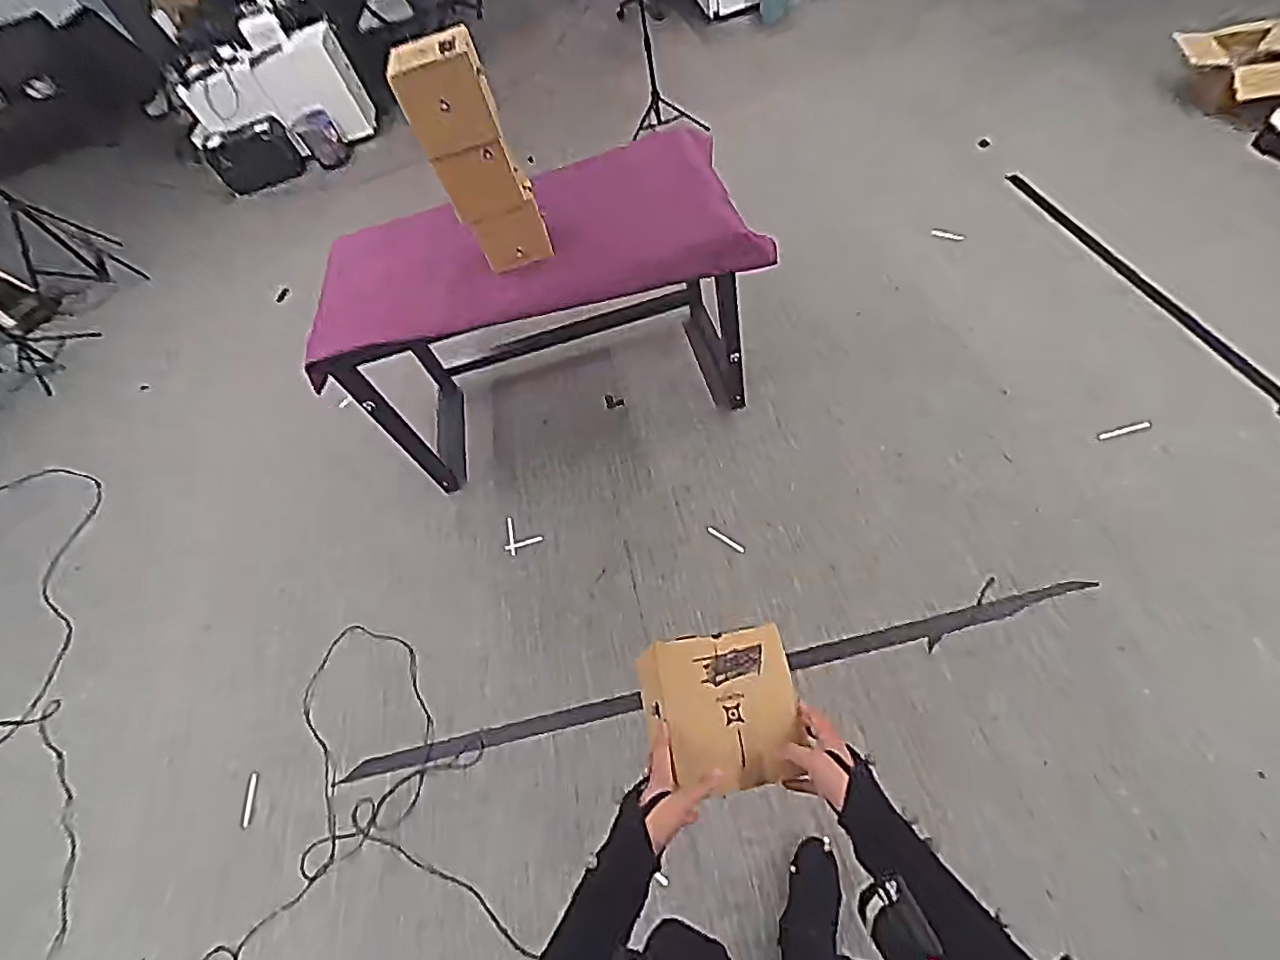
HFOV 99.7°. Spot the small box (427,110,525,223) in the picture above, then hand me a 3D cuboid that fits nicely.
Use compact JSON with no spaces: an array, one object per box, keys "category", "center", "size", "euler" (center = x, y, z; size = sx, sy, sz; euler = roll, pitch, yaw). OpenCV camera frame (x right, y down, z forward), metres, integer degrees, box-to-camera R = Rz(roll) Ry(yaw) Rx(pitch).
[{"category":"small box","center":[-0.404,-0.769,1.338],"size":[0.179,0.176,0.168],"euler":[-18,55,1]}]

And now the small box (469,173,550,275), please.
[{"category":"small box","center":[-0.356,-0.696,1.477],"size":[0.179,0.176,0.168],"euler":[-18,54,1]}]

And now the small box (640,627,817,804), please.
[{"category":"small box","center":[0.100,0.306,0.710],"size":[0.168,0.176,0.179],"euler":[-6,65,-10]}]
